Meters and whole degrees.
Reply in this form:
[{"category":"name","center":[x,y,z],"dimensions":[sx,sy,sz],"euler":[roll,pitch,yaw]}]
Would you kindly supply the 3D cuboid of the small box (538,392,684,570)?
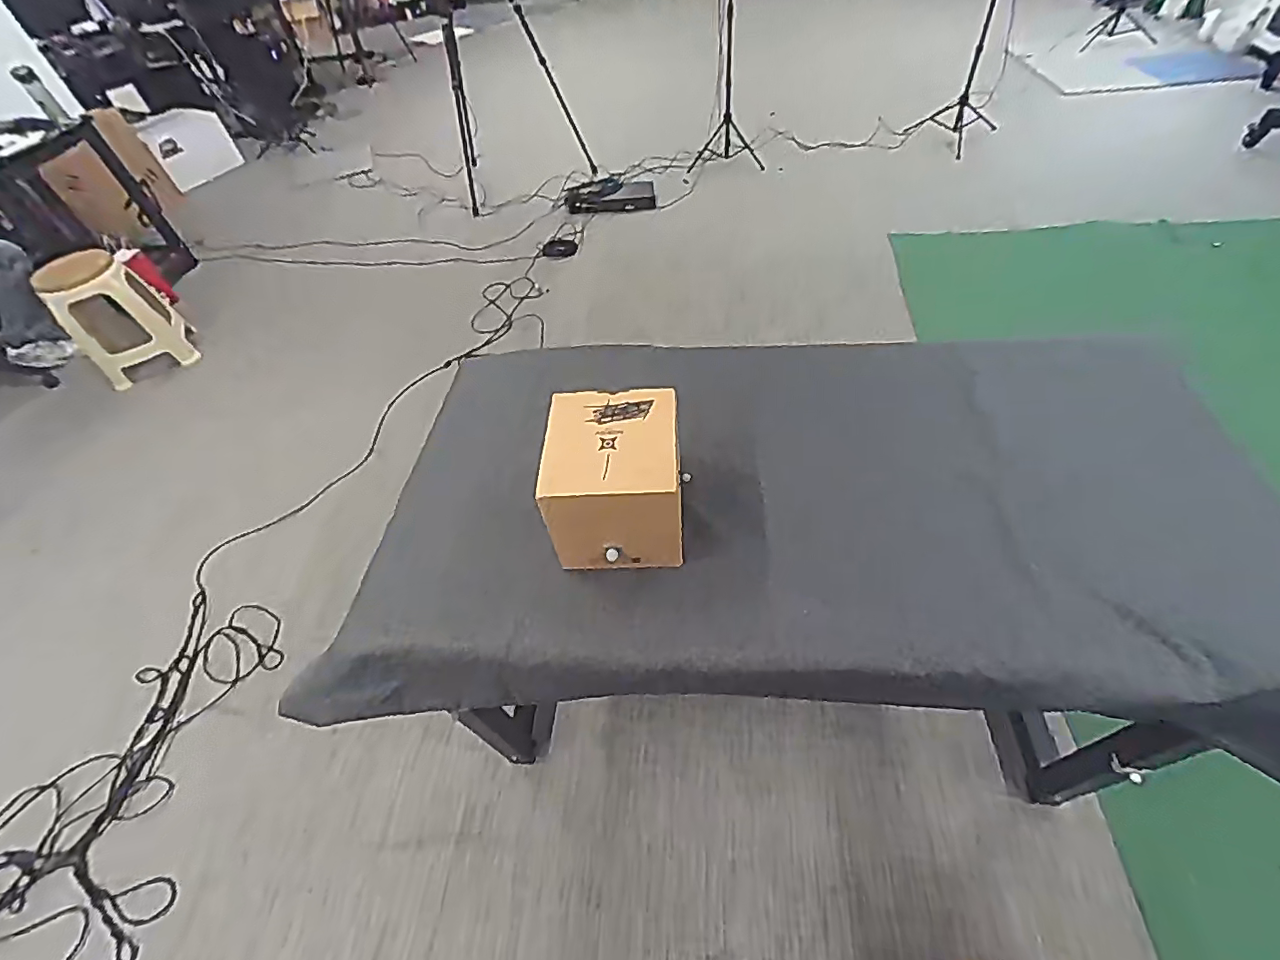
[{"category":"small box","center":[-0.027,0.003,0.729],"dimensions":[0.168,0.176,0.179],"euler":[-3,50,5]}]
